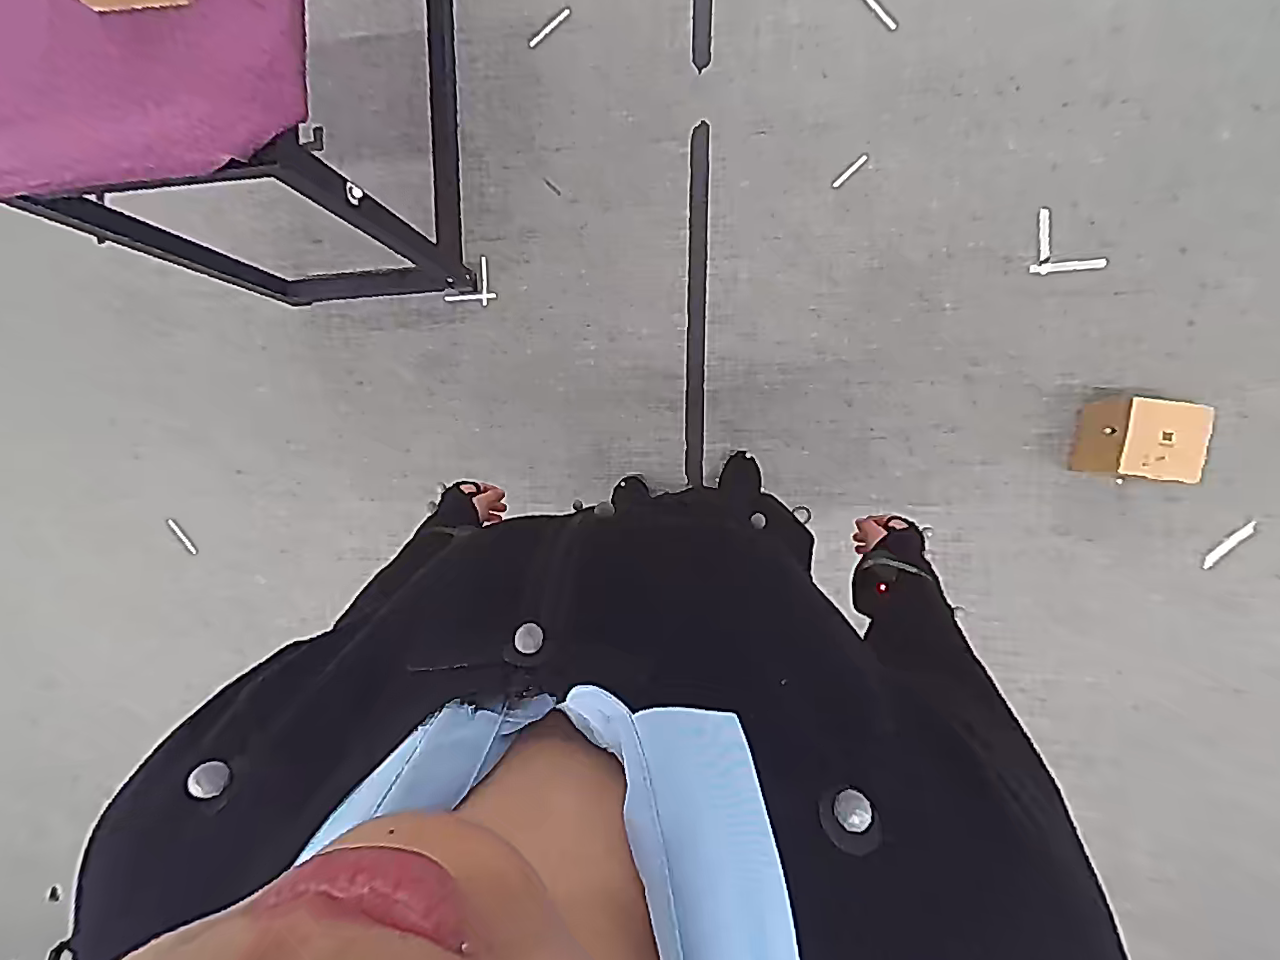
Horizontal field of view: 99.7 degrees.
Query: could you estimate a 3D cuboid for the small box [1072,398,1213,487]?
[{"bbox_3d":[1.166,-0.086,1.270,0.168,0.176,0.179,9,94,7],"label":"small box"}]
